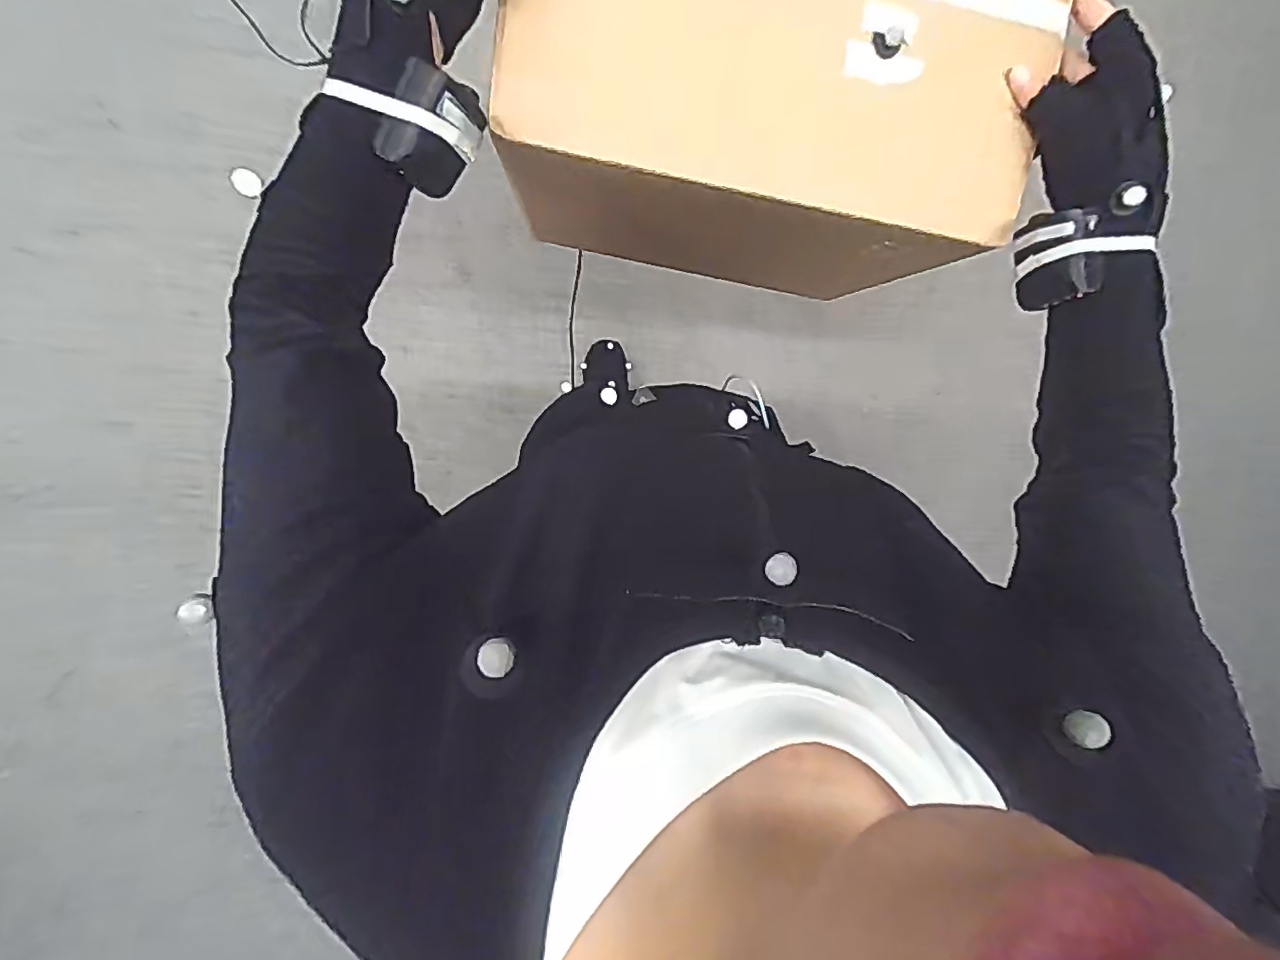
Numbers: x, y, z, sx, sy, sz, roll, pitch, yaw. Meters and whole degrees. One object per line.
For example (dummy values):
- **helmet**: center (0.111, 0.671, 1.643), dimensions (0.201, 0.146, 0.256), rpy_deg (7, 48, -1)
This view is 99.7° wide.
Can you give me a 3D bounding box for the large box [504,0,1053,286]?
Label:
- **large box**: center (0.098, -0.402, 0.532), dimensions (0.408, 0.320, 0.320), rpy_deg (7, 101, -8)
